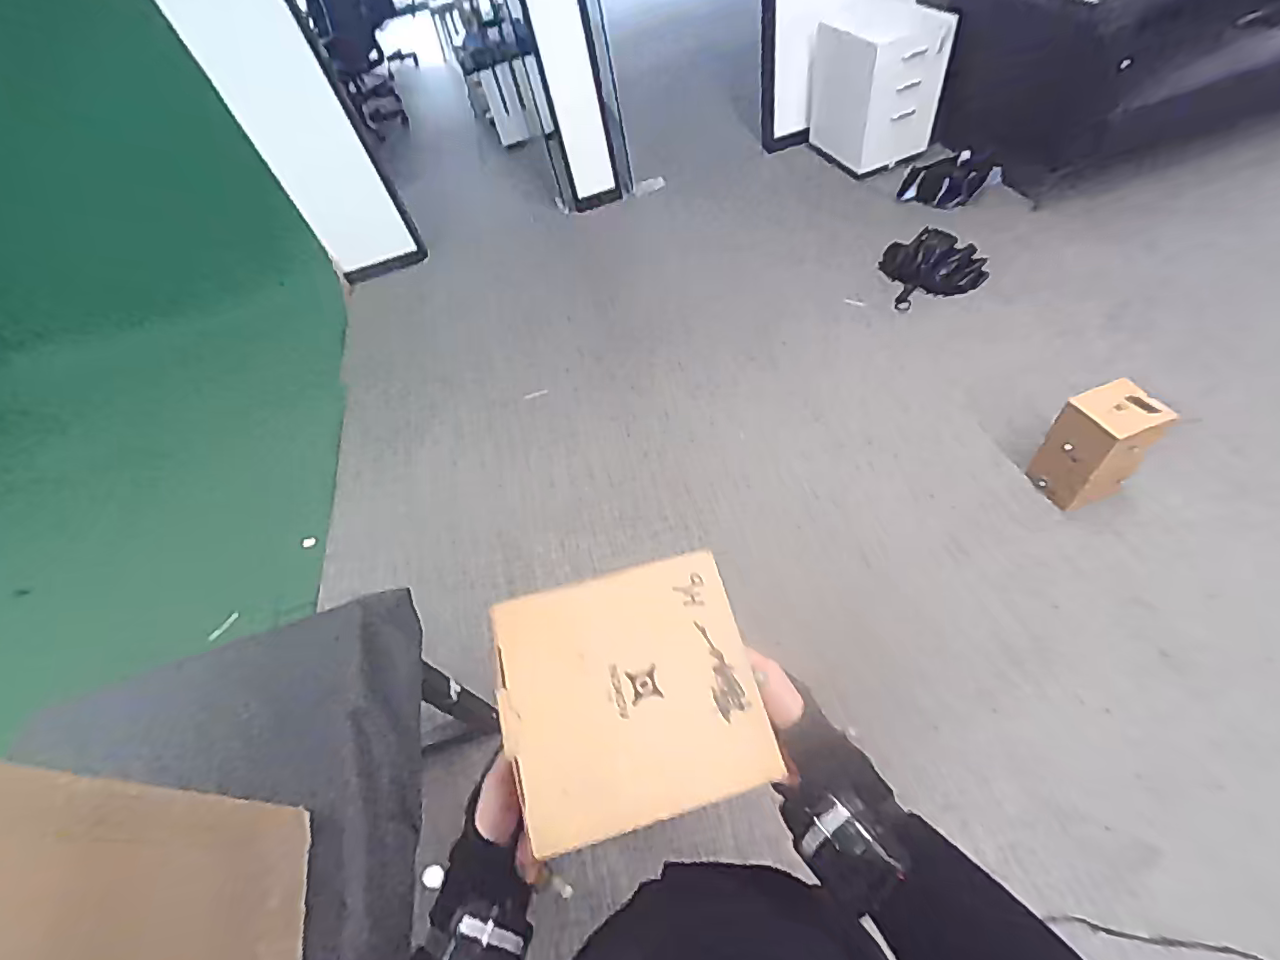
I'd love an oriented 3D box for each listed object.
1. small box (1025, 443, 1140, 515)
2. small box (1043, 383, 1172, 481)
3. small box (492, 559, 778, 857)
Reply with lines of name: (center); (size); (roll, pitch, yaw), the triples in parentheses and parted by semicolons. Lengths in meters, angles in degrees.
small box: (1.293, -0.028, 1.597); (0.179, 0.176, 0.168); (-22, 50, -3)
small box: (1.256, -0.127, 1.472); (0.179, 0.176, 0.168); (-21, 50, -3)
small box: (-0.010, 0.186, 0.458); (0.179, 0.176, 0.168); (-13, 66, -8)
